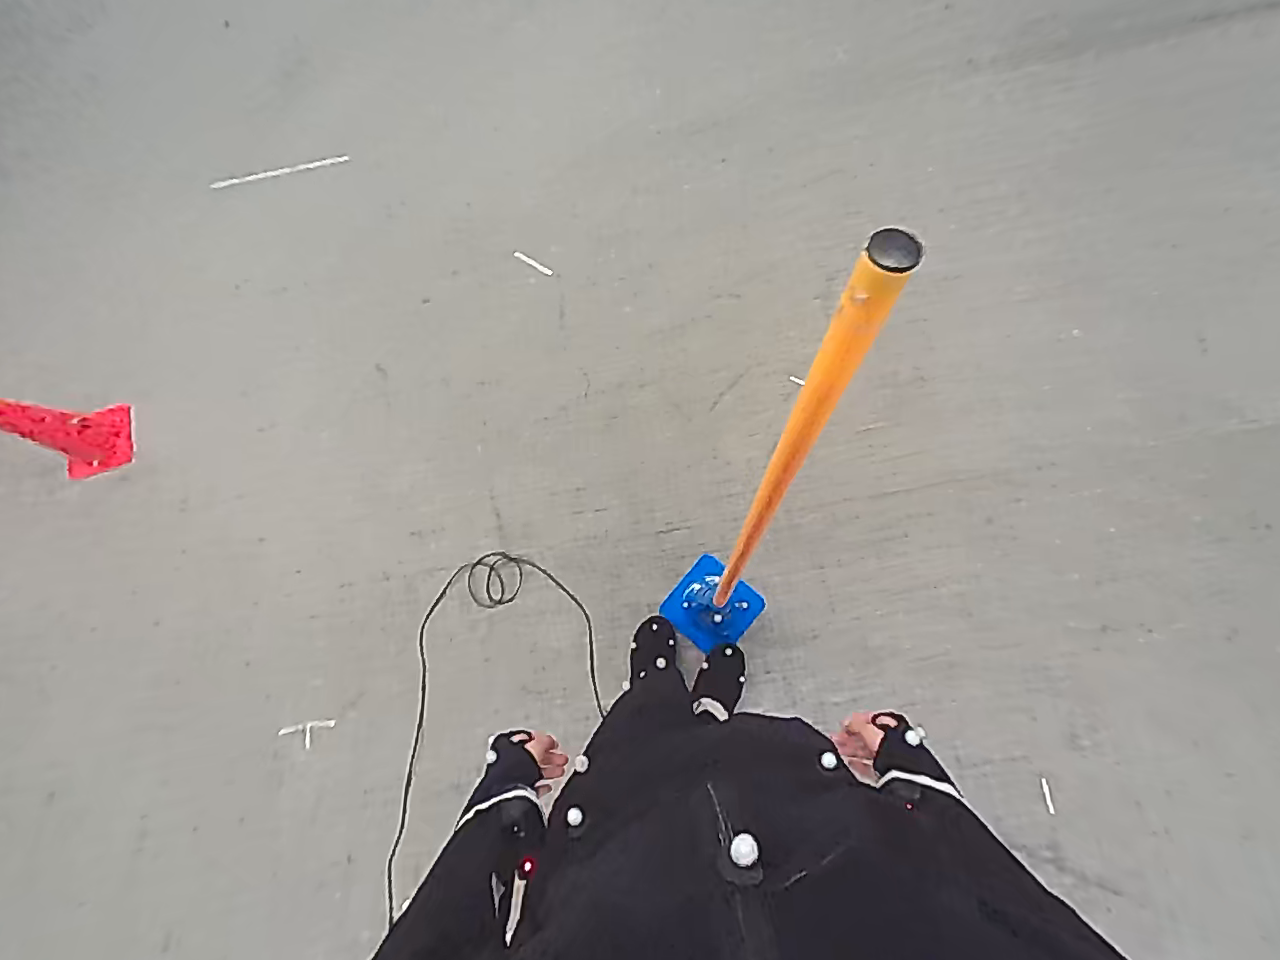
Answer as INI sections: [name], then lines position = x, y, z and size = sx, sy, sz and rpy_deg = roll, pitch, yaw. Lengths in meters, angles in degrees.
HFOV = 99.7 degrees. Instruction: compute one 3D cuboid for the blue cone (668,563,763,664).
[blue cone]
position = 0.171, 0.276, 1.161
size = 0.192, 0.380, 0.193
rpy_deg = 38, 80, 13
